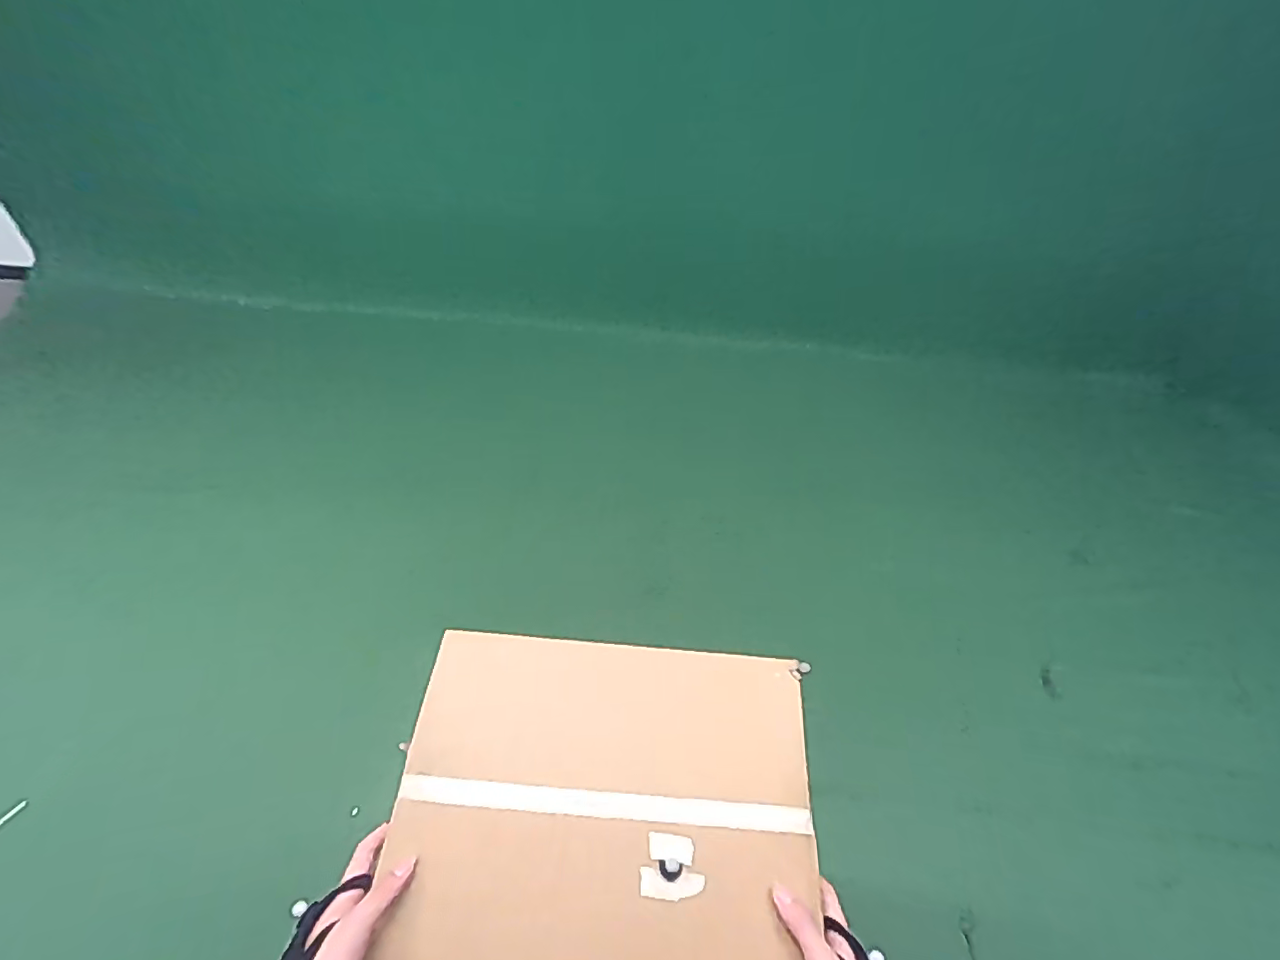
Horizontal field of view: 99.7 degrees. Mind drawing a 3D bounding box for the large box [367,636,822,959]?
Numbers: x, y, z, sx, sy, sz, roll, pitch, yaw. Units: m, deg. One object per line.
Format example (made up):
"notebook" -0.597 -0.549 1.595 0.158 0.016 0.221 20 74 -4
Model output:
"large box" -0.039 0.403 0.661 0.408 0.320 0.320 5 56 0
